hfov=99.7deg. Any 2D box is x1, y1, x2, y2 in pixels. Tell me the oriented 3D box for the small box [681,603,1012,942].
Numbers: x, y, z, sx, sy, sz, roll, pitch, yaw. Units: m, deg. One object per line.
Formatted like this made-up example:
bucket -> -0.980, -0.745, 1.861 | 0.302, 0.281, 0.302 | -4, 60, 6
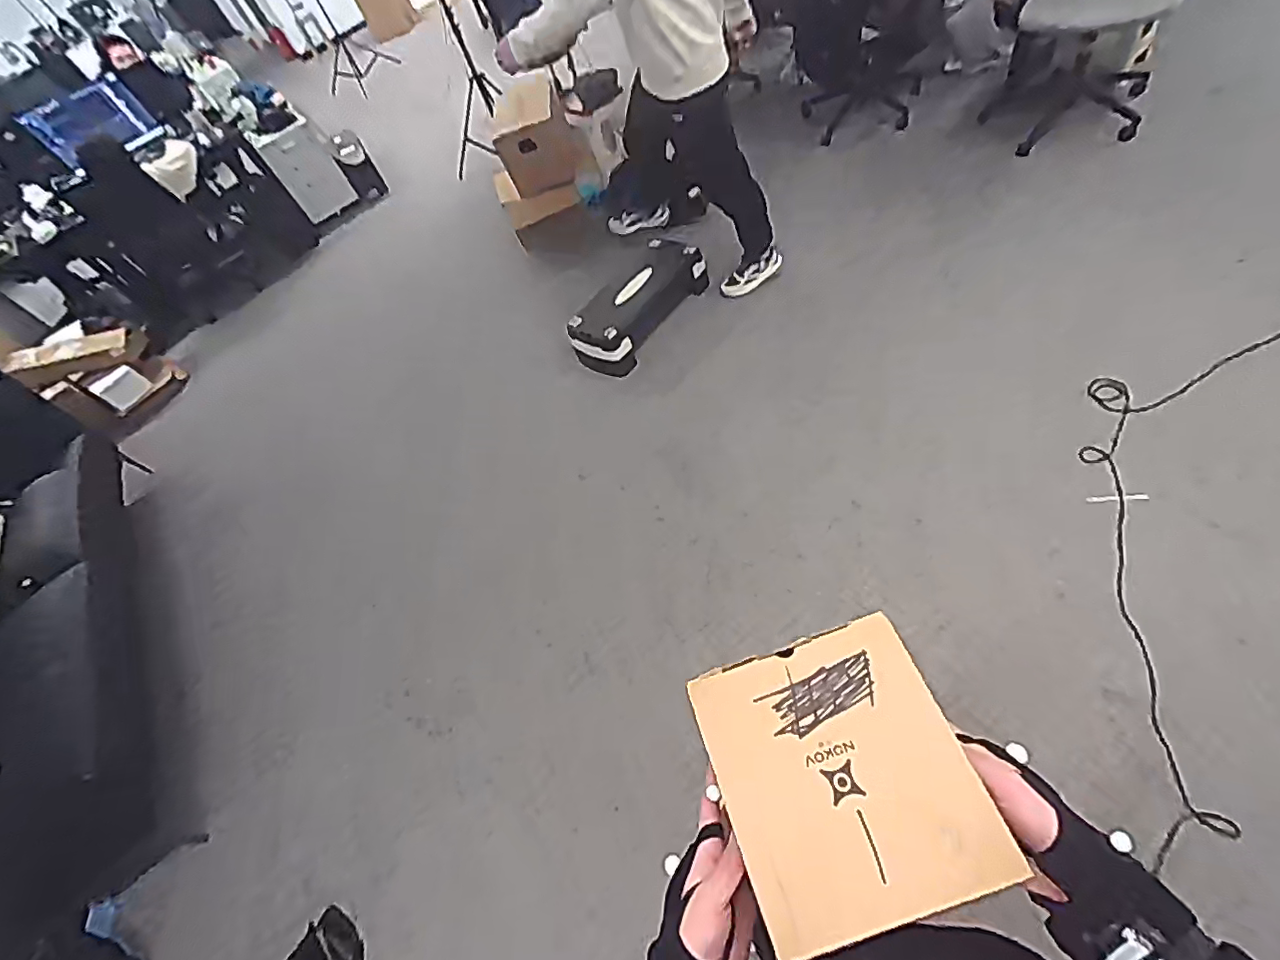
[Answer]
small box -> 0.144, 0.229, 0.445 | 0.168, 0.176, 0.179 | -21, 59, 1
